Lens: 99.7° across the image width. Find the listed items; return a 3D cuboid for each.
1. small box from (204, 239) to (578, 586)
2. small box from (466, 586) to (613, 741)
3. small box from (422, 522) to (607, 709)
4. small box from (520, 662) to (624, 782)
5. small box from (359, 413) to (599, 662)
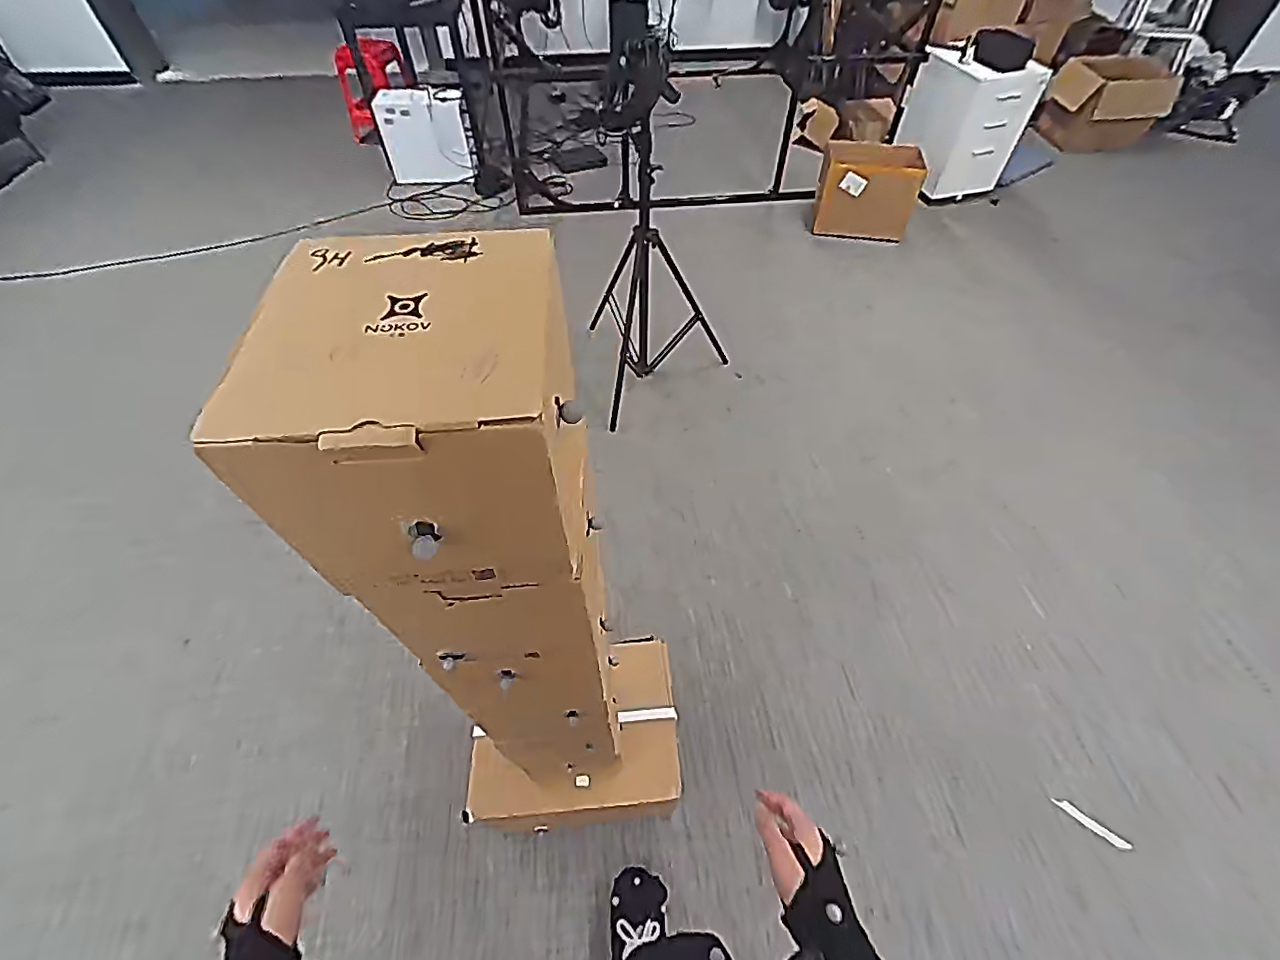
[{"bbox_3d":[-0.132,-0.036,0.371,0.168,0.176,0.179,-4,54,-3],"label":"small box"},{"bbox_3d":[-0.127,0.260,0.762,0.179,0.176,0.168,-3,53,-2],"label":"small box"},{"bbox_3d":[-0.128,0.161,0.634,0.179,0.176,0.168,-3,54,-2],"label":"small box"},{"bbox_3d":[-0.125,0.460,1.022,0.179,0.176,0.168,-5,54,-5],"label":"small box"},{"bbox_3d":[-0.126,0.061,0.503,0.168,0.176,0.179,-3,53,-2],"label":"small box"}]
